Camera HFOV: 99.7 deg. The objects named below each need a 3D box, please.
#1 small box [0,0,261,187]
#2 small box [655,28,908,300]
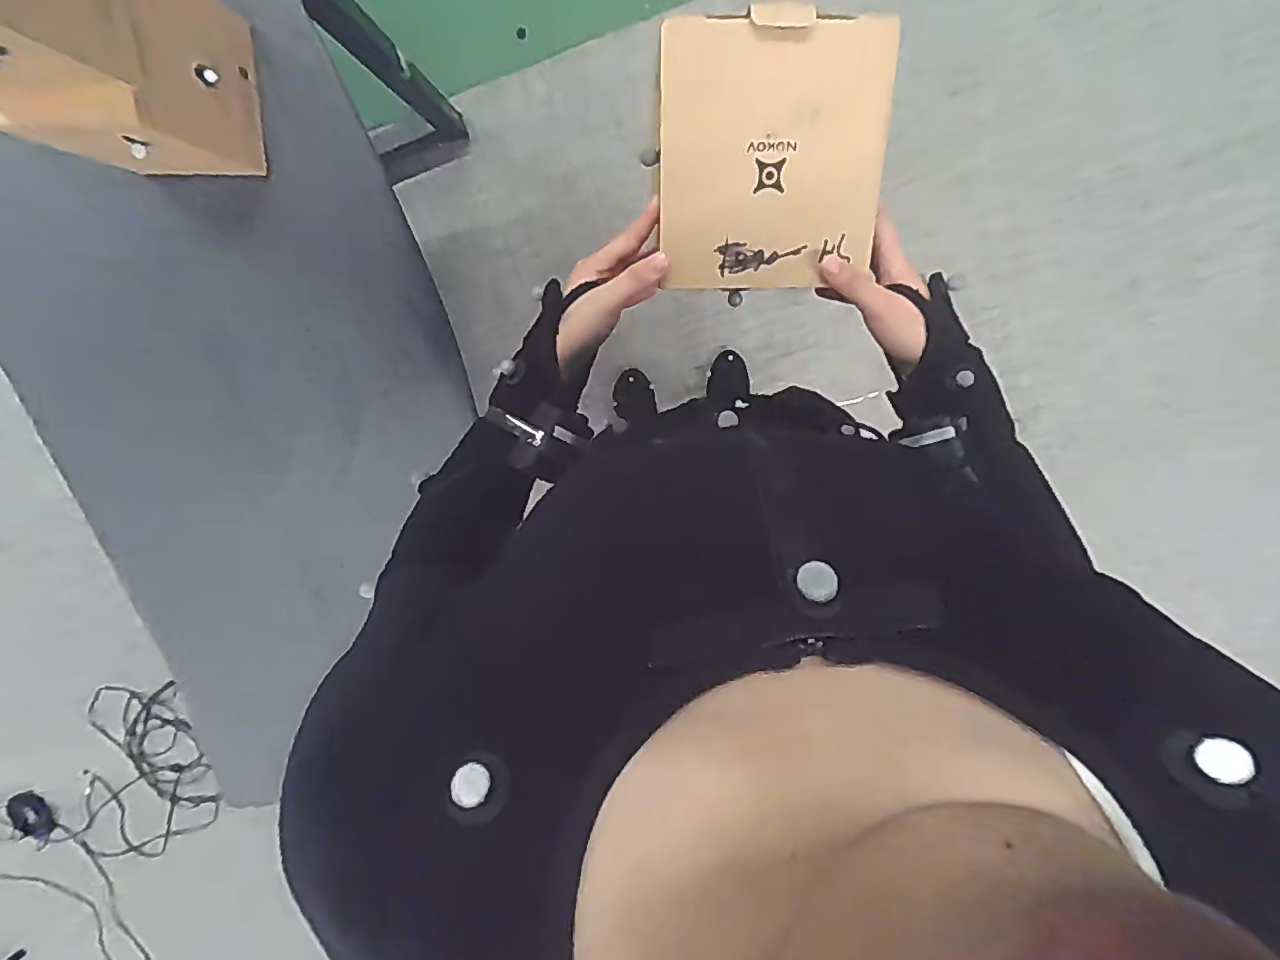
[{"bbox_3d":[-0.552,-0.434,0.590,0.179,0.176,0.168,4,104,5],"label":"small box"},{"bbox_3d":[0.100,-0.252,0.470,0.168,0.176,0.179,-1,112,-1],"label":"small box"}]
